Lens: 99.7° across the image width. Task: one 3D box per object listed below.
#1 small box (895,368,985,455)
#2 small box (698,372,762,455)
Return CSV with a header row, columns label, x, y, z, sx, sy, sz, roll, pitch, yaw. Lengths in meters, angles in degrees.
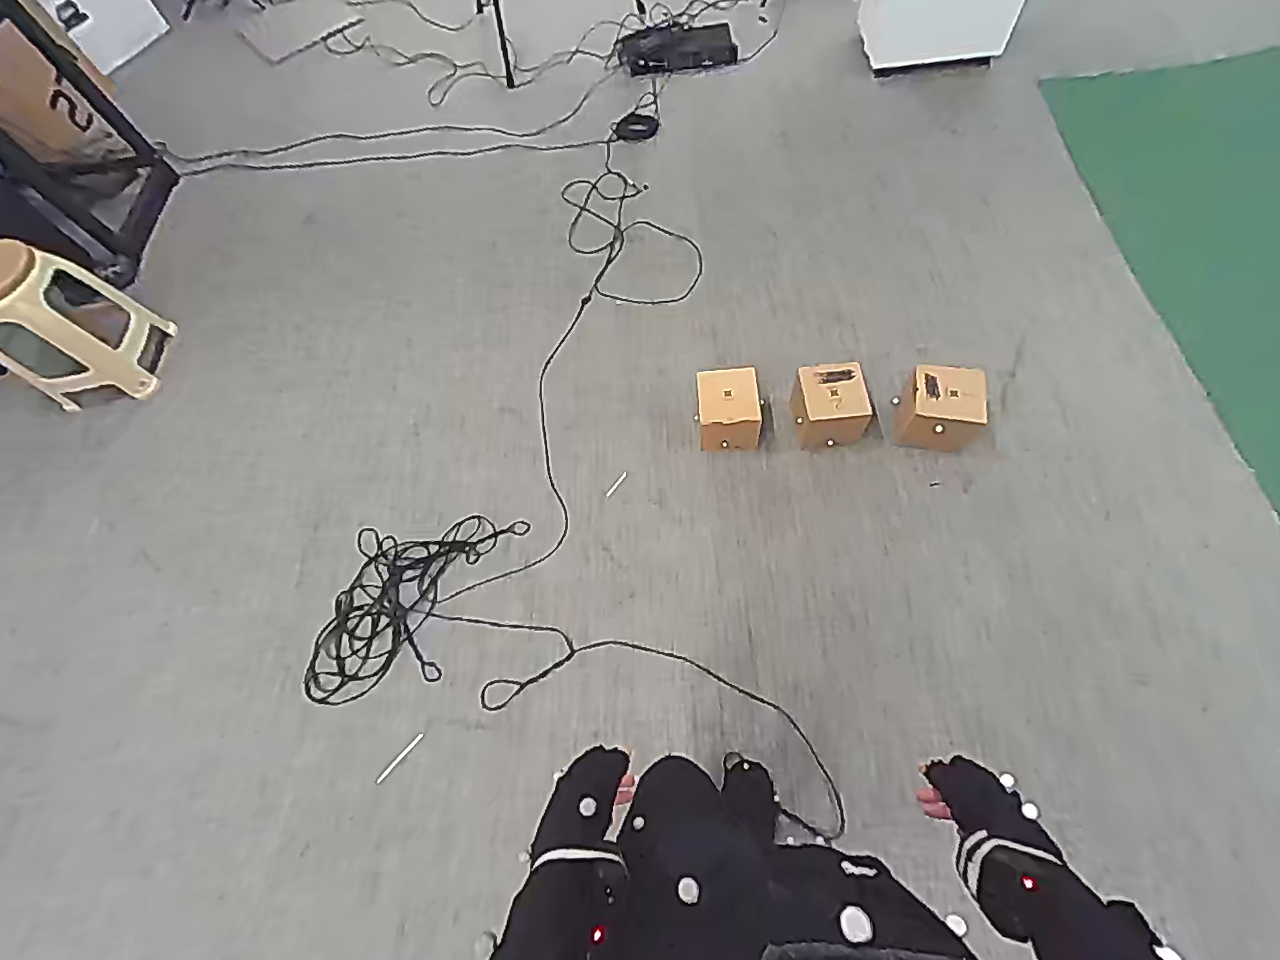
label,x,y,z,sx,sy,sz,roll,pitch,yaw
small box,0.820,-0.184,1.494,0.179,0.176,0.168,10,66,10
small box,0.255,-0.191,1.569,0.168,0.176,0.179,-4,64,5
